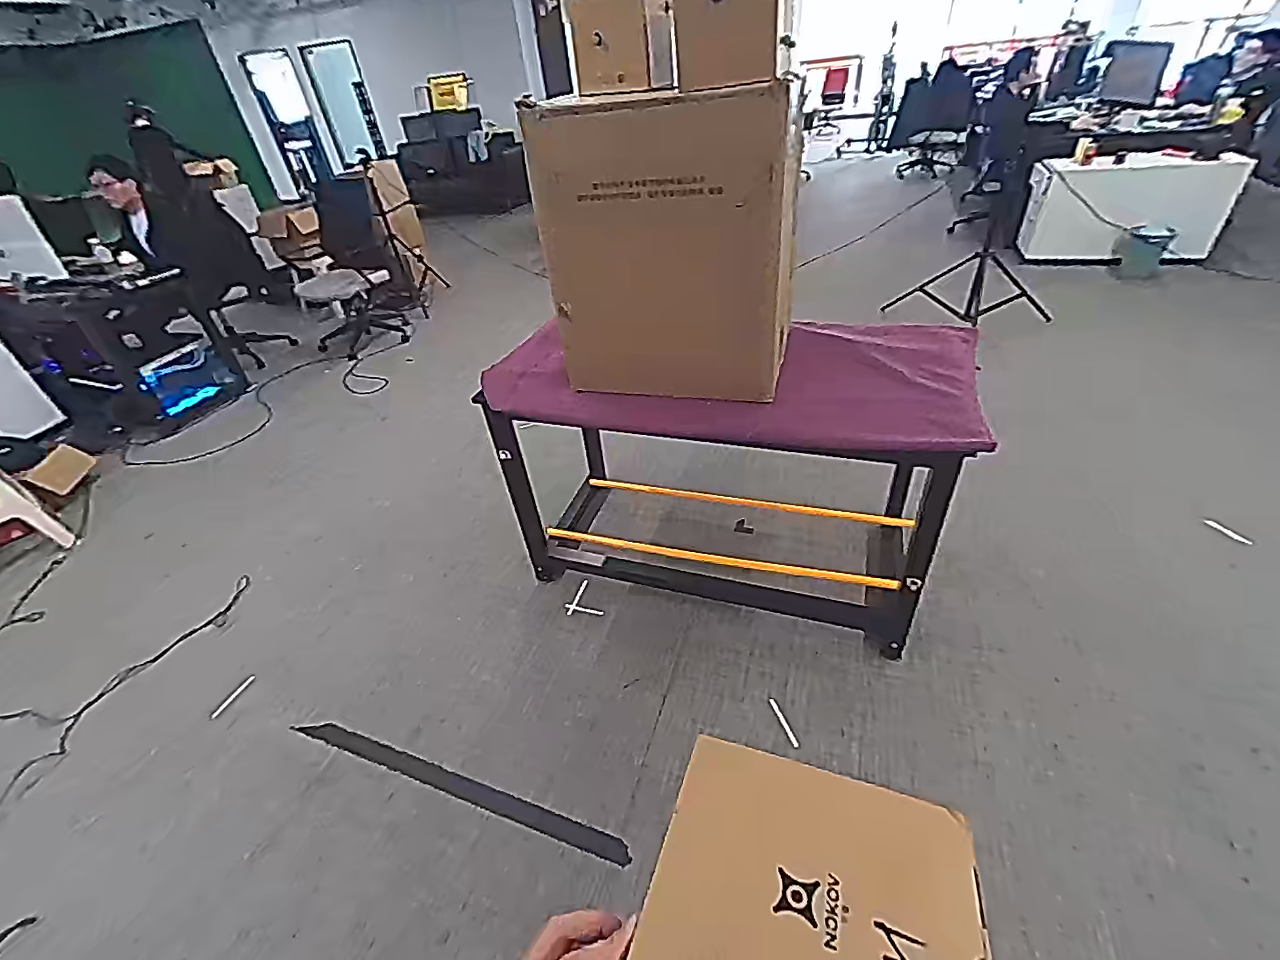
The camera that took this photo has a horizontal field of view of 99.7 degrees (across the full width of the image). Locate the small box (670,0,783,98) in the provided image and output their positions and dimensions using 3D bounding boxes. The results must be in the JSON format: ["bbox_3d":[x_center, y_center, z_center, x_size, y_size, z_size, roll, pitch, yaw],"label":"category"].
[{"bbox_3d":[0.157,-0.791,0.957,0.179,0.176,0.168,4,39,16],"label":"small box"}]

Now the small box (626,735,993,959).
[{"bbox_3d":[0.099,0.302,0.334,0.179,0.176,0.168,8,30,19],"label":"small box"}]

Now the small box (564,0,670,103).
[{"bbox_3d":[-0.039,-0.918,1.157,0.168,0.176,0.179,9,40,19],"label":"small box"}]
